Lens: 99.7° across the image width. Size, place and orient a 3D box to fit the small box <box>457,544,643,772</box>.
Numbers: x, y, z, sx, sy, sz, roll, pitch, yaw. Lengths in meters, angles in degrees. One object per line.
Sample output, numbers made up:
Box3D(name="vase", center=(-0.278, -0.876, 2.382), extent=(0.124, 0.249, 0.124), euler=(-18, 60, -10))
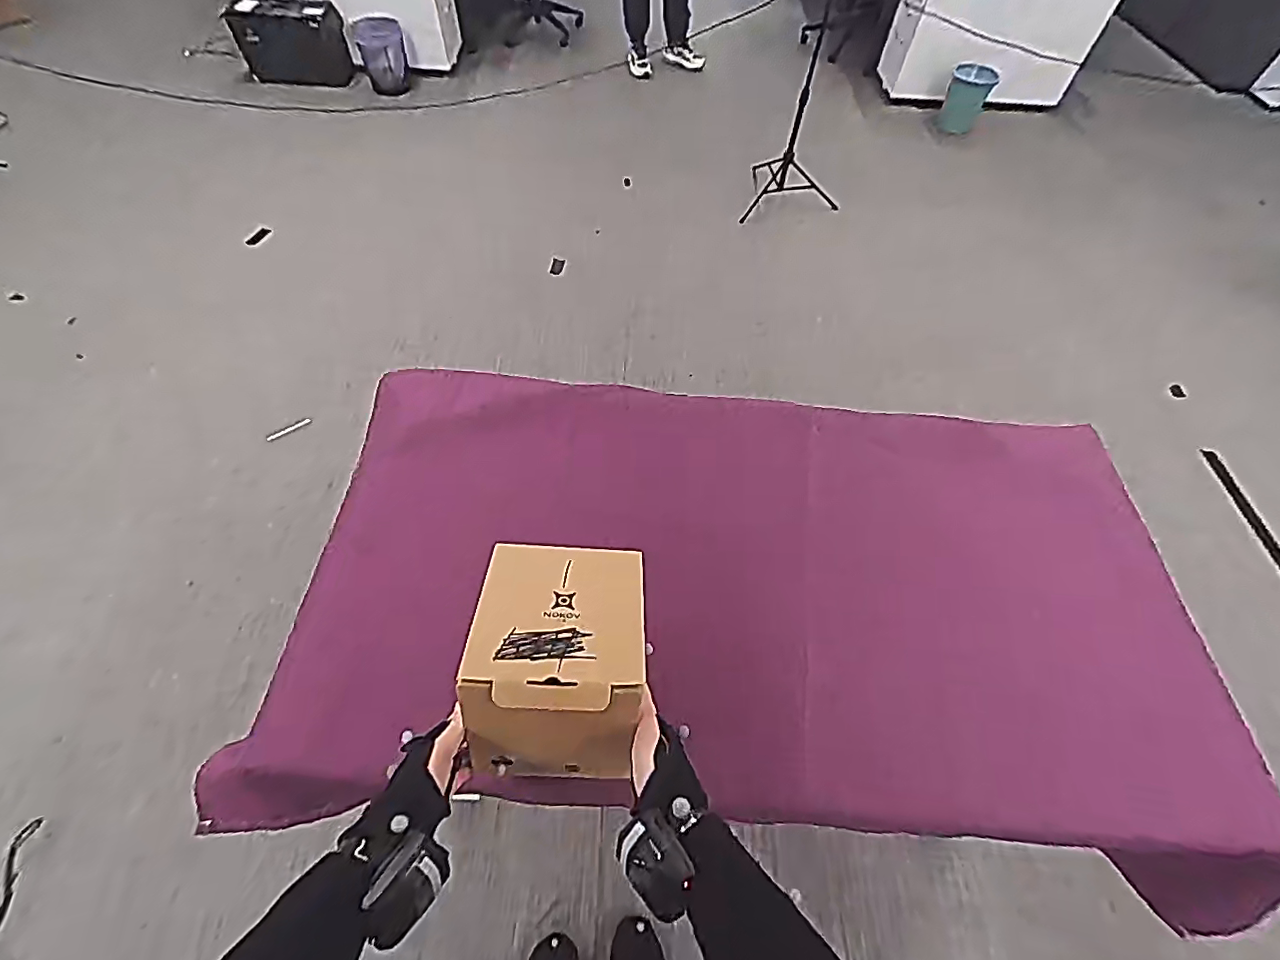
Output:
Box3D(name="small box", center=(-0.084, 0.192, 0.585), extent=(0.168, 0.176, 0.179), euler=(4, 37, -3))
